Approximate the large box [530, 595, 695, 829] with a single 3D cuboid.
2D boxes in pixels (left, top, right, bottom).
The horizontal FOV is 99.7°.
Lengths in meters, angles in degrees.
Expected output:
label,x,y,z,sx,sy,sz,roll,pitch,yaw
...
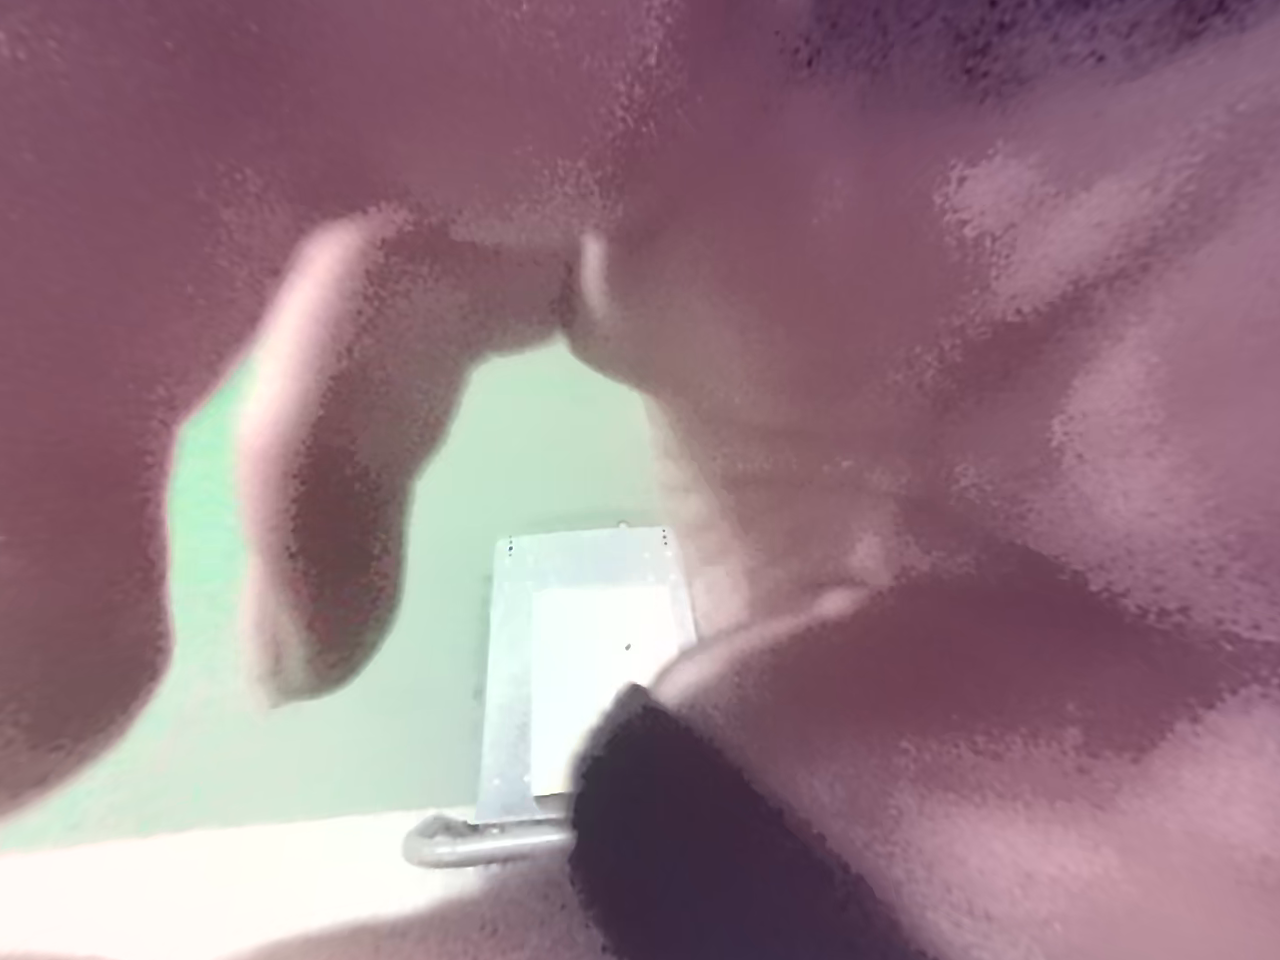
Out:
label,x,y,z,sx,sy,sz,roll,pitch,yaw
large box,-0.076,0.529,1.245,0.320,0.320,0.408,-3,50,-6
